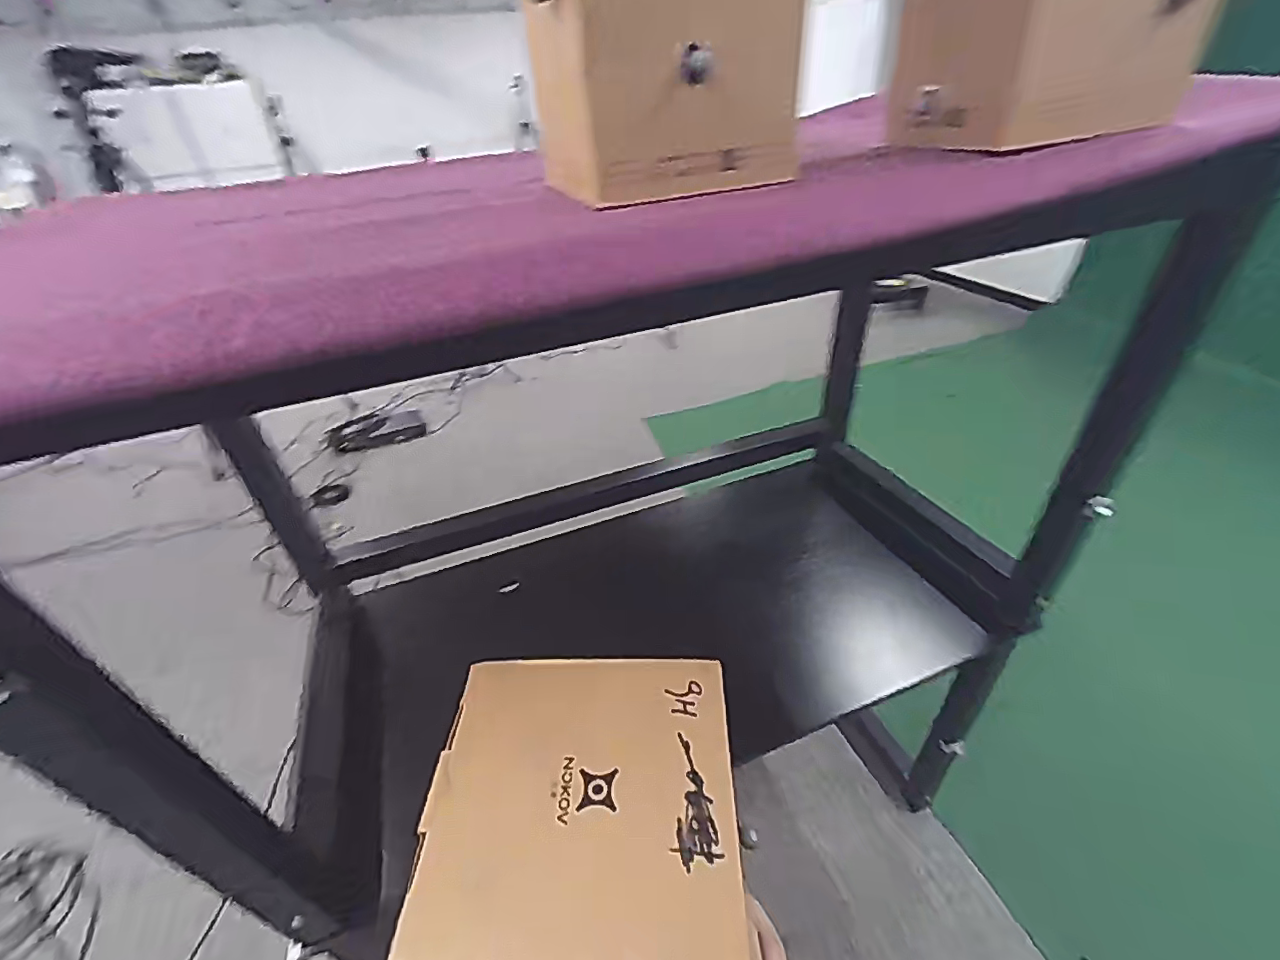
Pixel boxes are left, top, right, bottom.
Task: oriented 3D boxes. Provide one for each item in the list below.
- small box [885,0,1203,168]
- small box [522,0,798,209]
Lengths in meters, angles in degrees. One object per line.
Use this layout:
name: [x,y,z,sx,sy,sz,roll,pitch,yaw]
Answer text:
small box: [0.351,-0.394,0.488,0.179,0.176,0.168,-15,35,-9]
small box: [0.013,-0.323,0.431,0.168,0.176,0.179,-15,37,-15]
